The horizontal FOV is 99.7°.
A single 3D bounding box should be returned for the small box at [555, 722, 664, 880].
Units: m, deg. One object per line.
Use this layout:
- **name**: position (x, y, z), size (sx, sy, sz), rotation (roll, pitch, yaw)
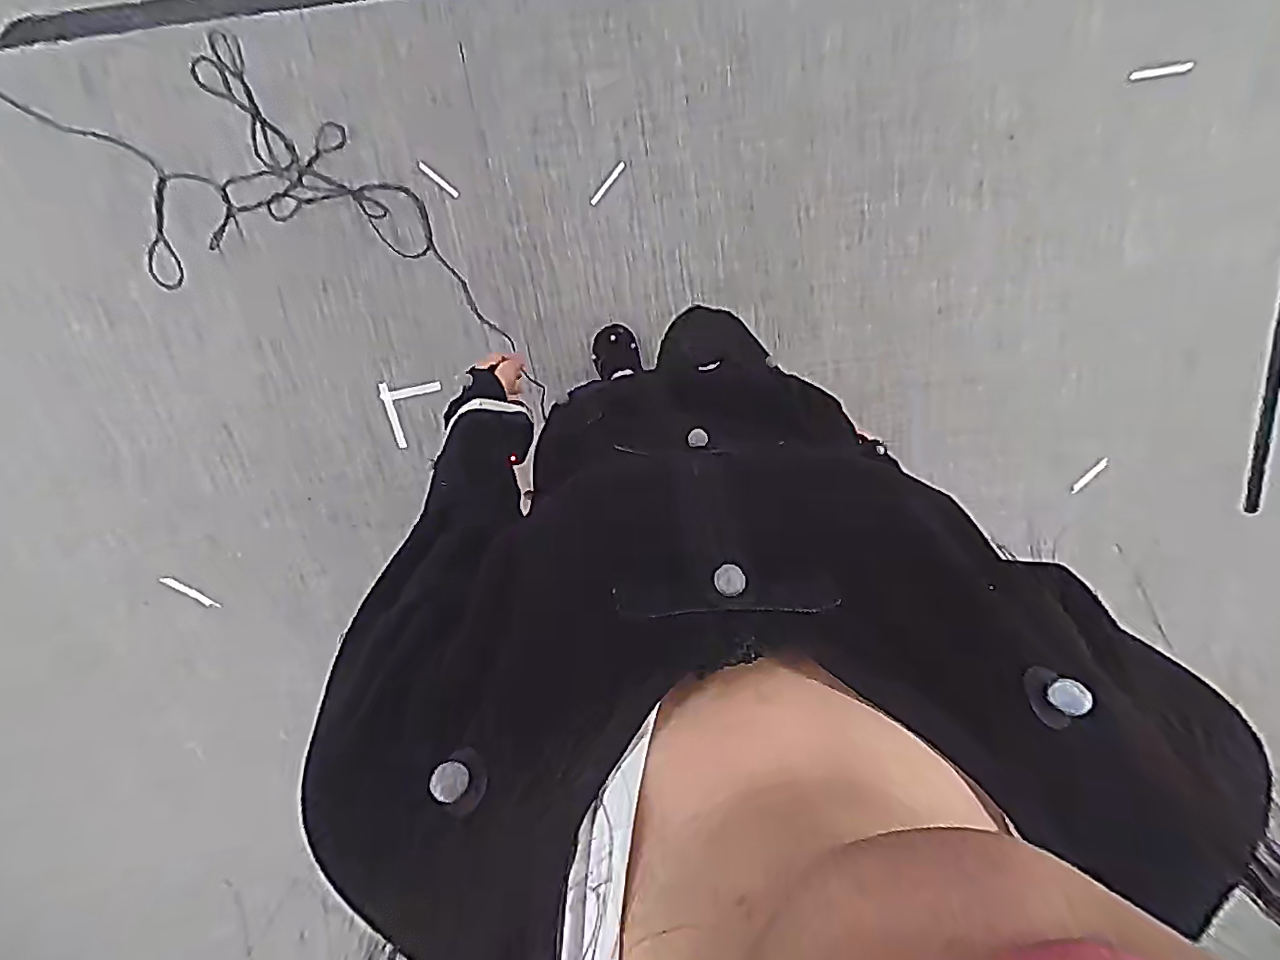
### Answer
- **small box**: position (-0.054, 0.557, 0.963), size (0.168, 0.176, 0.179), rotation (-8, 107, -2)
